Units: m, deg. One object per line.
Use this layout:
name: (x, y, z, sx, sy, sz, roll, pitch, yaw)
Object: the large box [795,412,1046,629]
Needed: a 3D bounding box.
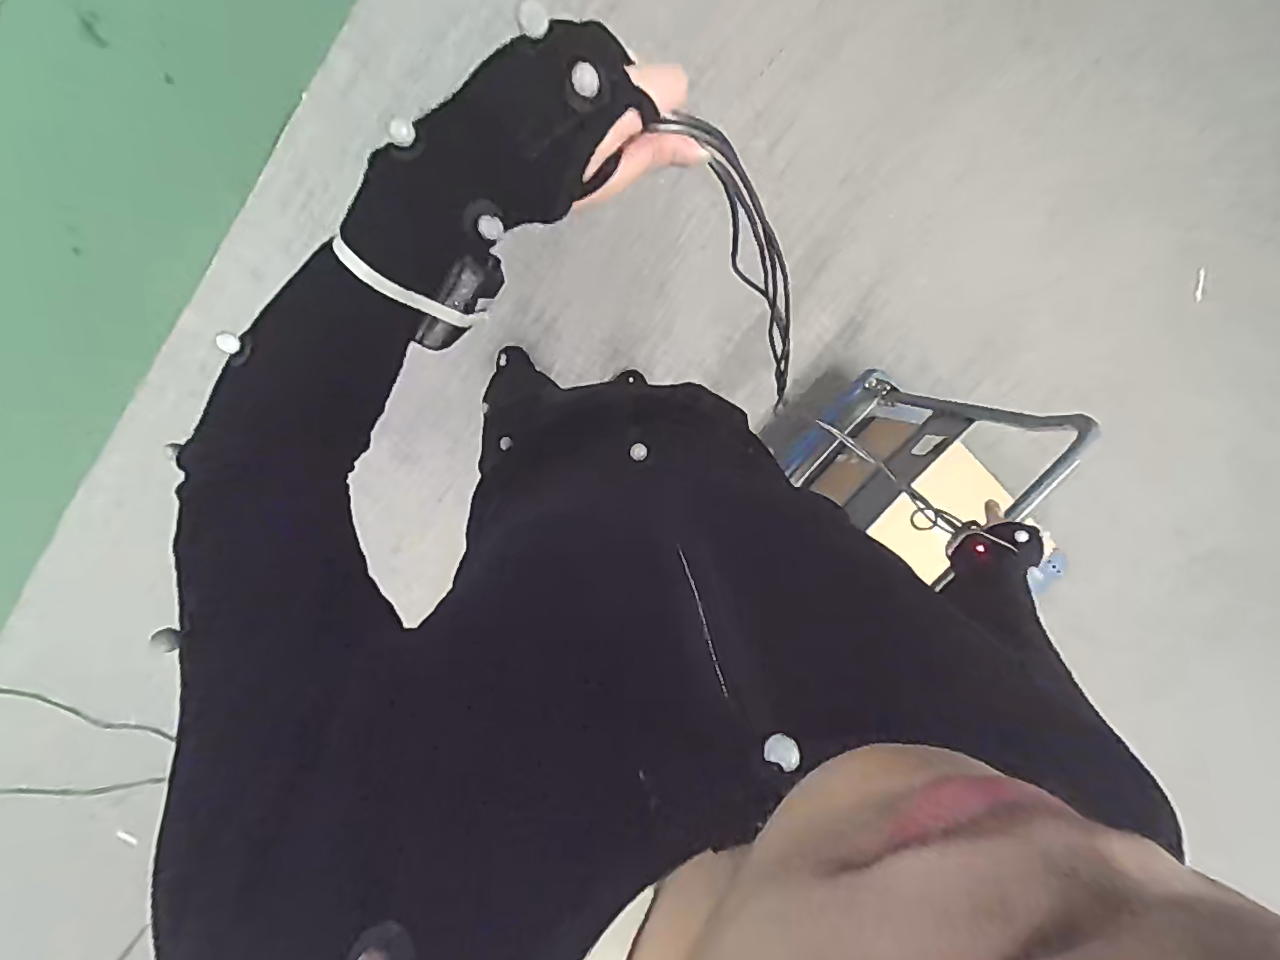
large box: (0.676, 0.083, 1.361, 0.408, 0.320, 0.320, 43, 97, -13)
